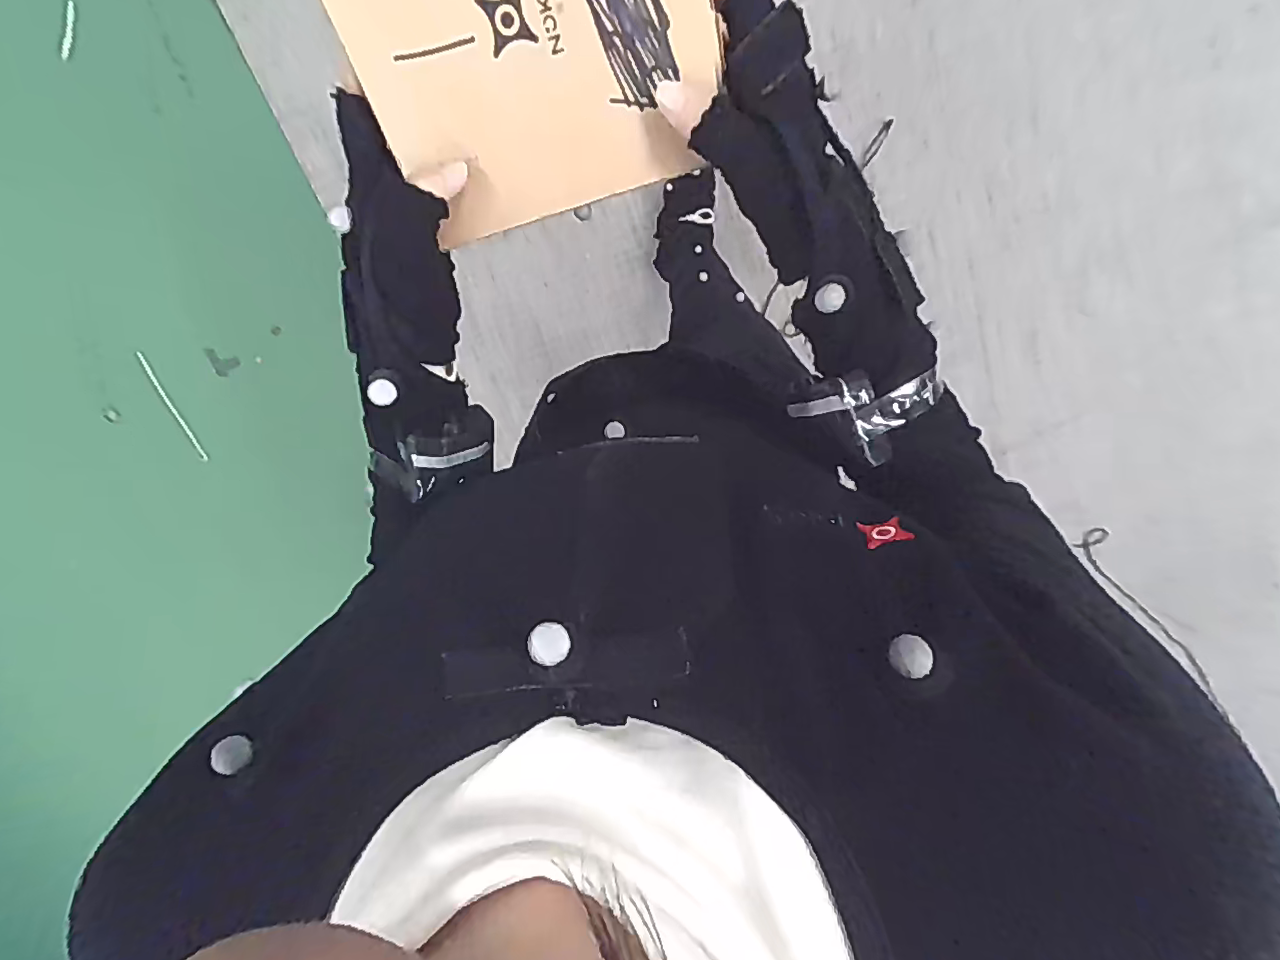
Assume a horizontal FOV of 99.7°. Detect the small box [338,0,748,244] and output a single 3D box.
[{"bbox_3d":[-0.053,-0.268,0.321,0.179,0.176,0.168,-17,124,8],"label":"small box"}]
